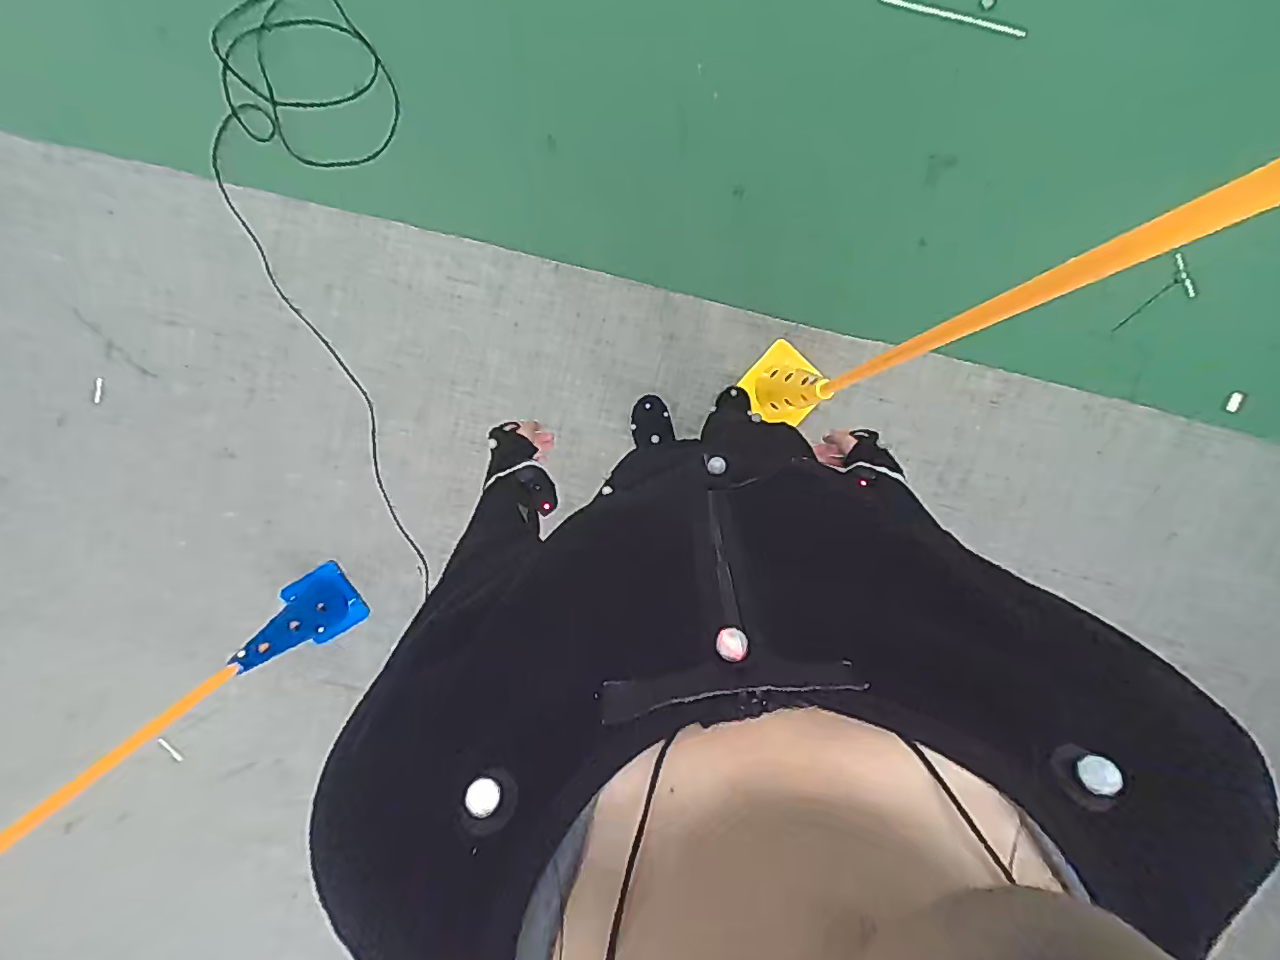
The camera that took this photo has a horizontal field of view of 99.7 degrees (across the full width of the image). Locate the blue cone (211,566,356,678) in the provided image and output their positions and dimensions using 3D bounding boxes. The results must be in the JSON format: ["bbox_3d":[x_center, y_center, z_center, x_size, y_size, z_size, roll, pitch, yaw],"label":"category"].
[{"bbox_3d":[-0.925,0.393,1.379,0.193,0.380,0.192,-31,99,7],"label":"blue cone"}]
